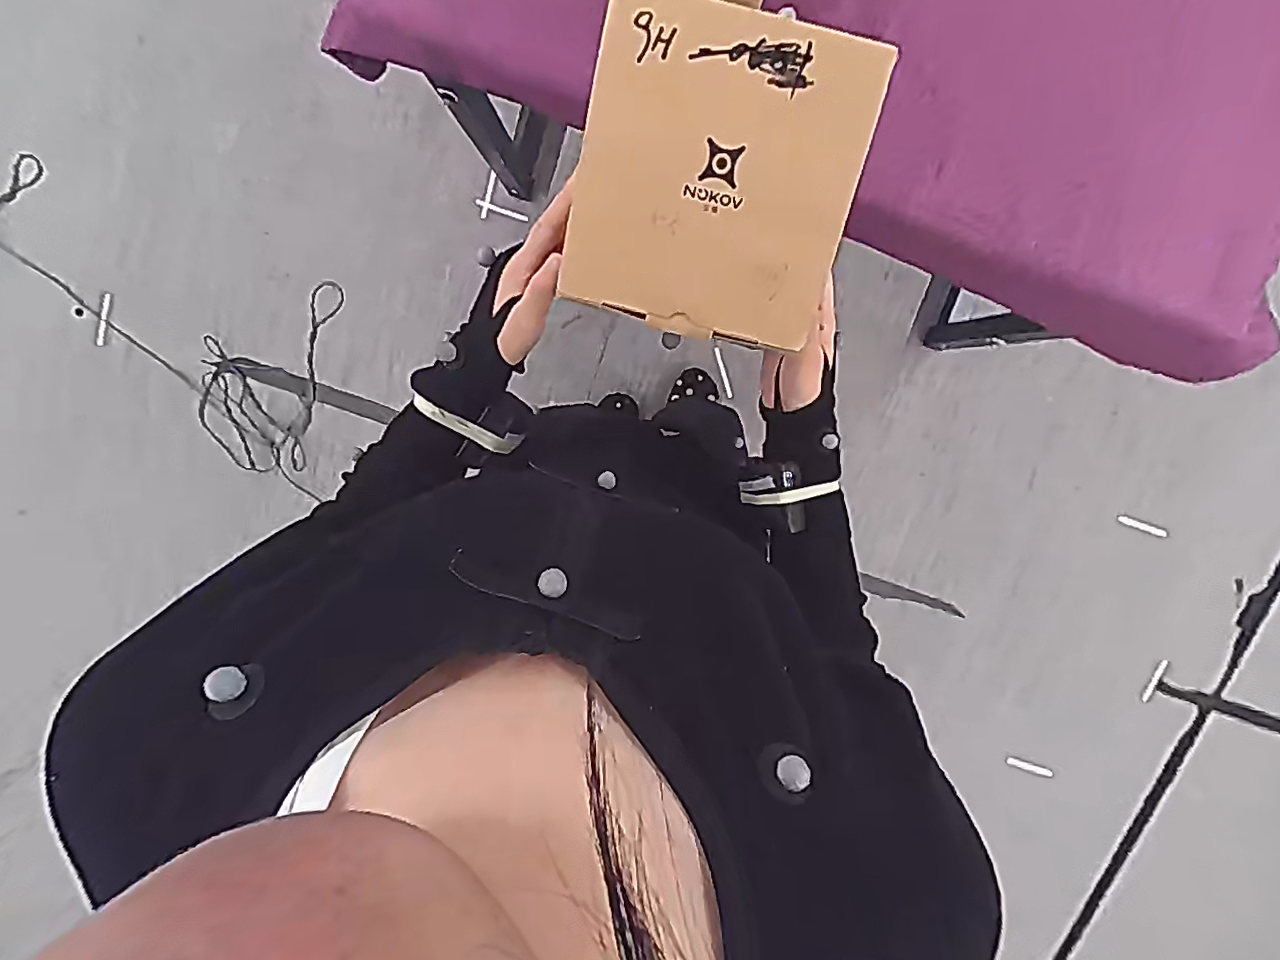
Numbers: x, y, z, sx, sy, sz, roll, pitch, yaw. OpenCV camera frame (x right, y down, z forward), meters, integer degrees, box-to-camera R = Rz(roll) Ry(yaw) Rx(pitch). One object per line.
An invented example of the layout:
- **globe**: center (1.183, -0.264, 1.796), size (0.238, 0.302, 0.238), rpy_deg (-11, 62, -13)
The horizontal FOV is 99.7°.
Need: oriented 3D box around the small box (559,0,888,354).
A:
- **small box**: center (0.049, -0.204, 0.407), size (0.168, 0.176, 0.179), rpy_deg (13, 106, -2)
